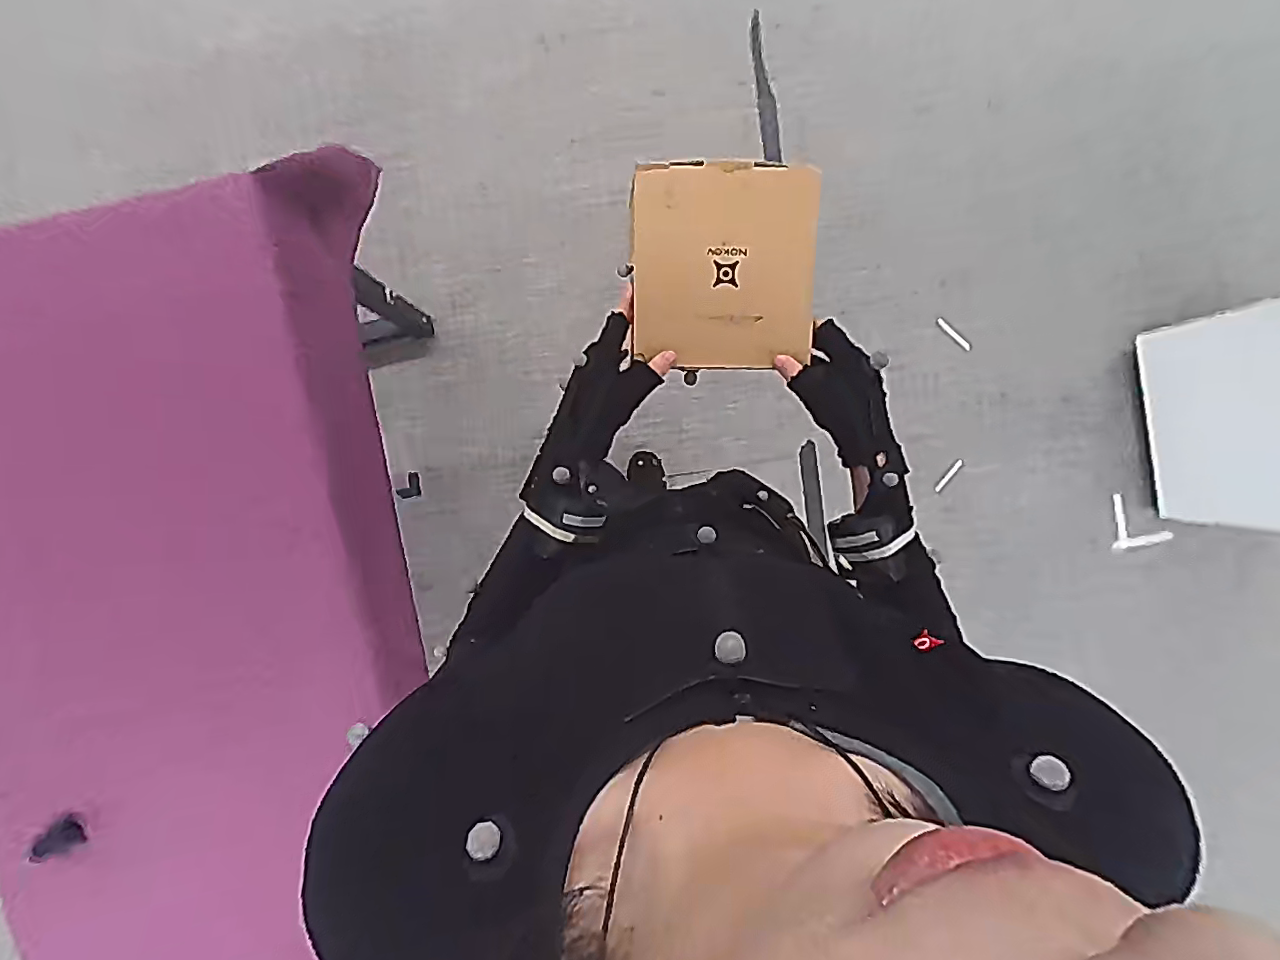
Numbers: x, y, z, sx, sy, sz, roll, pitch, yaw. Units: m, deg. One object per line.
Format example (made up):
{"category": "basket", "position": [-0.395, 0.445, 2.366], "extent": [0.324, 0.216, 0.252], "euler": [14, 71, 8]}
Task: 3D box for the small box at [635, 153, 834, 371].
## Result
{"category": "small box", "position": [0.081, -0.206, 0.557], "extent": [0.168, 0.176, 0.179], "euler": [1, 101, -2]}
